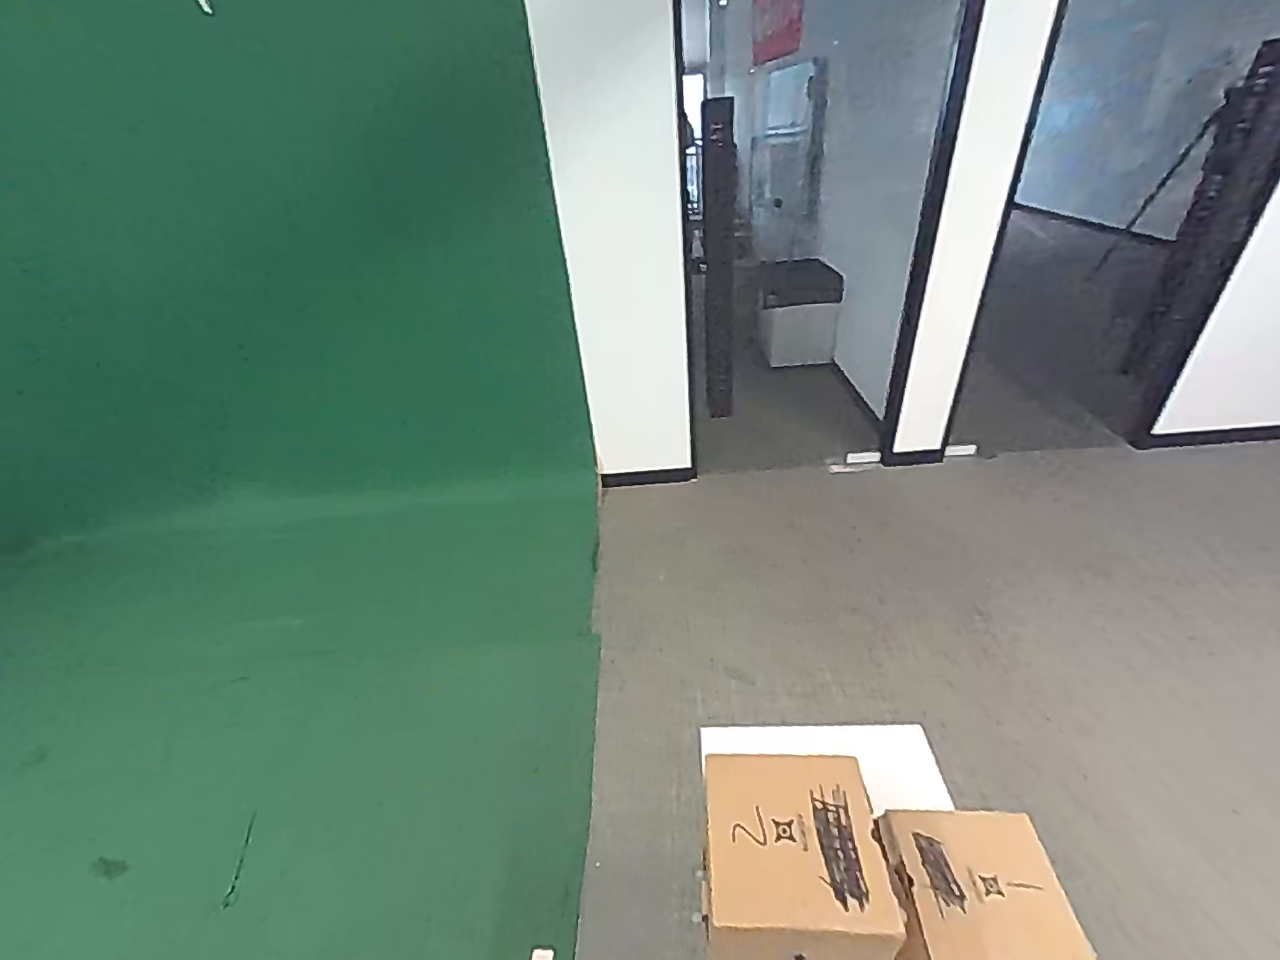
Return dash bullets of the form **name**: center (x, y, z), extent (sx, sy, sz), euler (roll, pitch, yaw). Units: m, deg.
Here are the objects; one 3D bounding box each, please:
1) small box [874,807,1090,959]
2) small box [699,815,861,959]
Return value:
- **small box**: center (0.413, 0.549, 0.693), extent (0.179, 0.176, 0.168), euler (-1, 34, 7)
- **small box**: center (0.169, 0.565, 0.704), extent (0.179, 0.176, 0.168), euler (-1, 35, 4)
